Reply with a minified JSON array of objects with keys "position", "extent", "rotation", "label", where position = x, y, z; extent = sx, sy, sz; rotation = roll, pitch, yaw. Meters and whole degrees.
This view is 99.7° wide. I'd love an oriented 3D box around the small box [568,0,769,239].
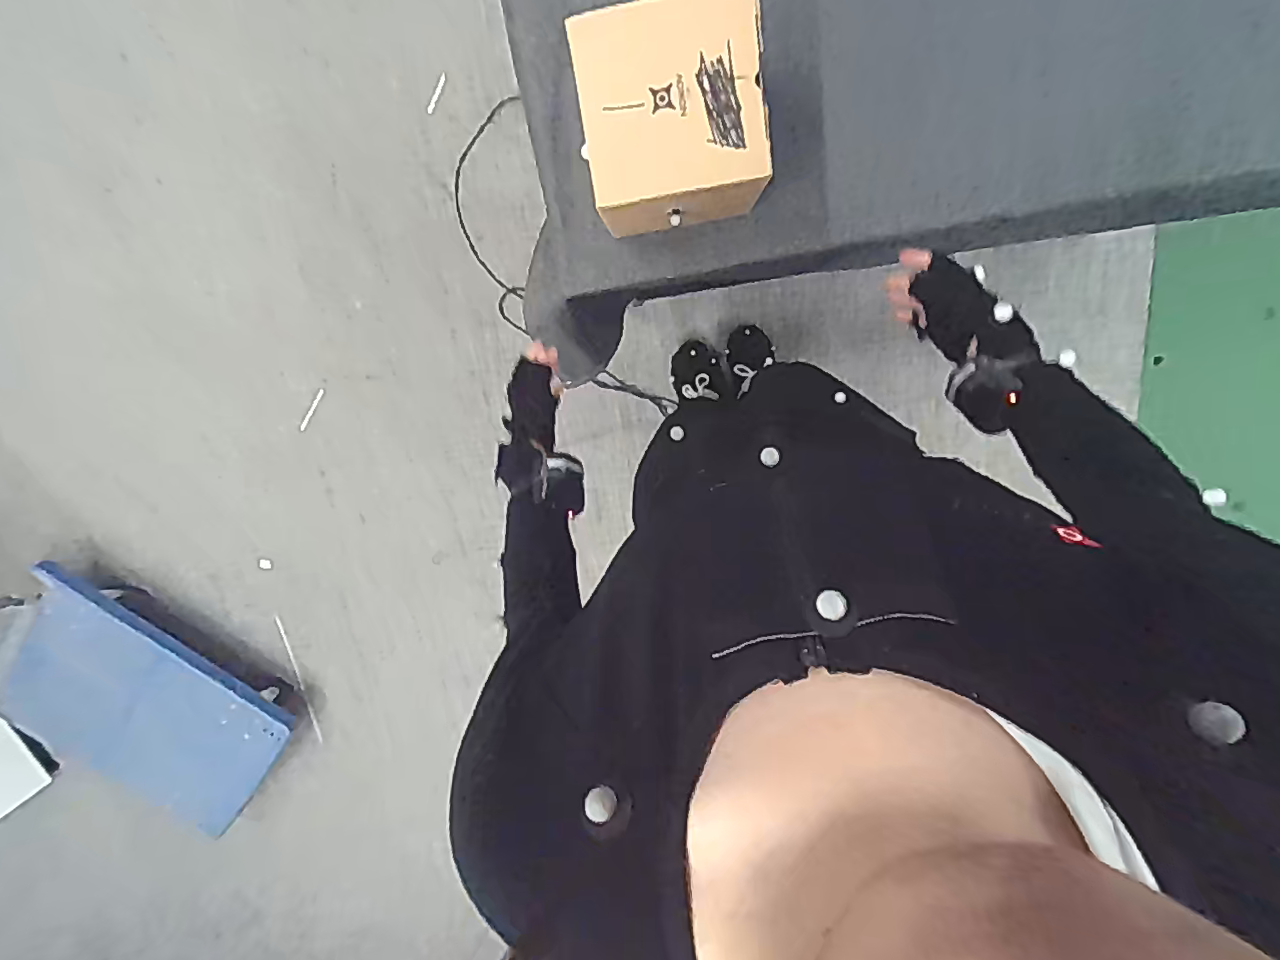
[{"position":[0.033,-0.375,0.589],"extent":[0.179,0.176,0.168],"rotation":[-7,104,6],"label":"small box"}]
